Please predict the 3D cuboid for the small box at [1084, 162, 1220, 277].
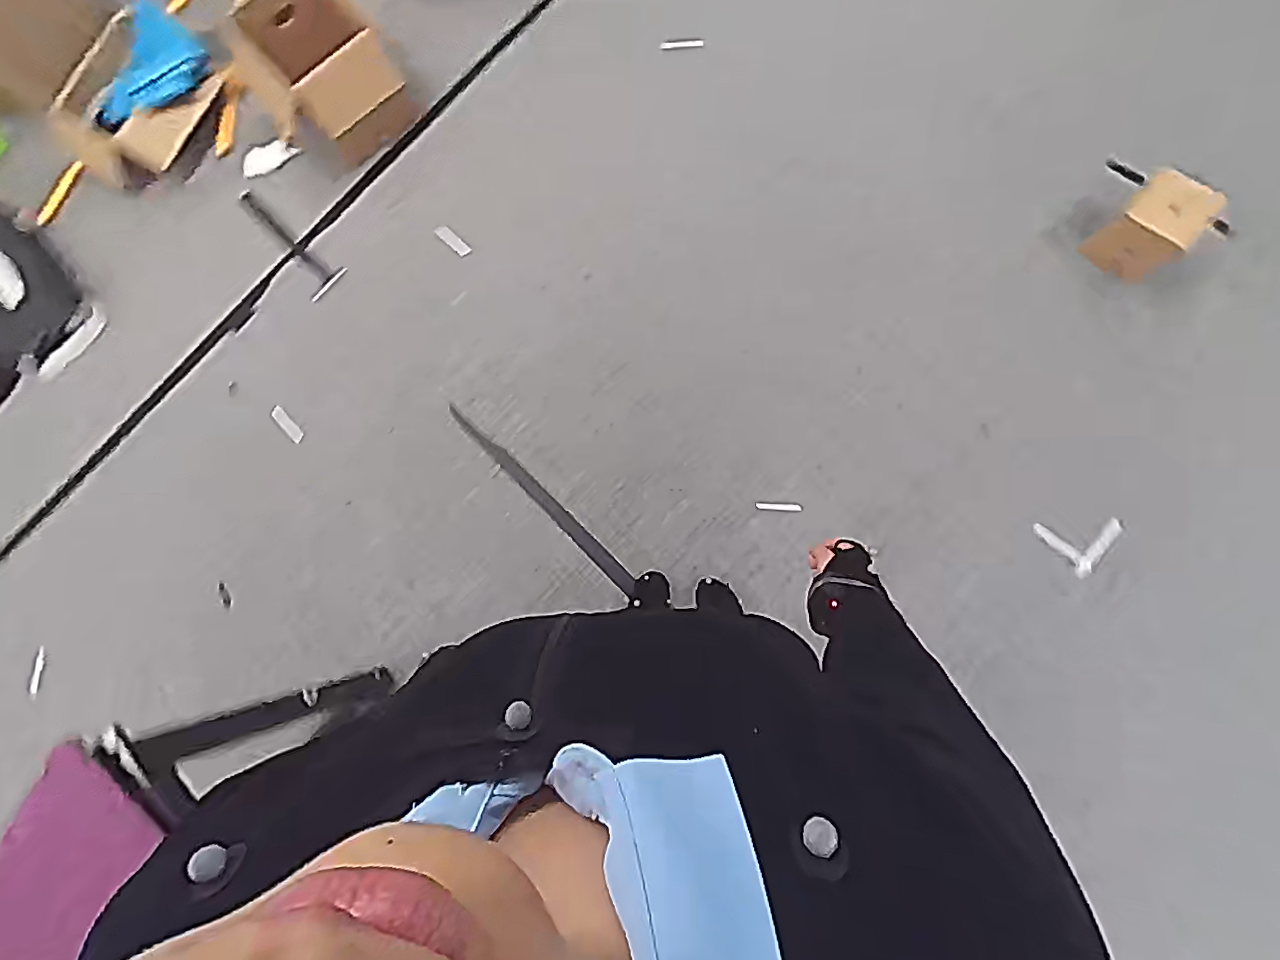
[{"bbox_3d":[1.332,-0.677,1.427,0.168,0.176,0.179,40,86,12],"label":"small box"}]
